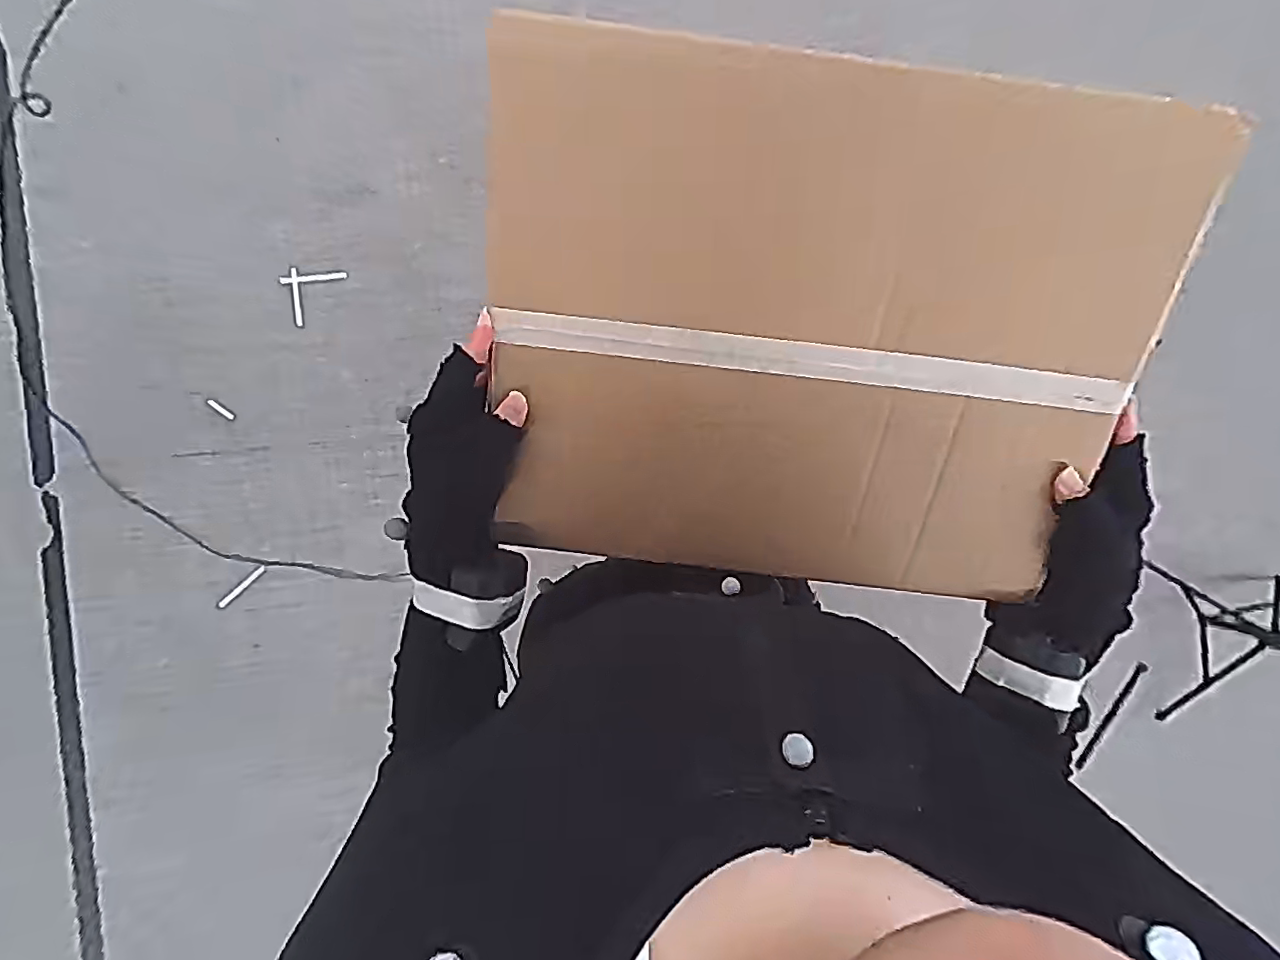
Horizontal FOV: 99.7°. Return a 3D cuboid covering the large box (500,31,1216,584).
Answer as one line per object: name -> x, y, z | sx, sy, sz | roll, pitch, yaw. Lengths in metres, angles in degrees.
large box -> 0.109, -0.136, 0.488 | 0.408, 0.320, 0.320 | 7, 113, -2
